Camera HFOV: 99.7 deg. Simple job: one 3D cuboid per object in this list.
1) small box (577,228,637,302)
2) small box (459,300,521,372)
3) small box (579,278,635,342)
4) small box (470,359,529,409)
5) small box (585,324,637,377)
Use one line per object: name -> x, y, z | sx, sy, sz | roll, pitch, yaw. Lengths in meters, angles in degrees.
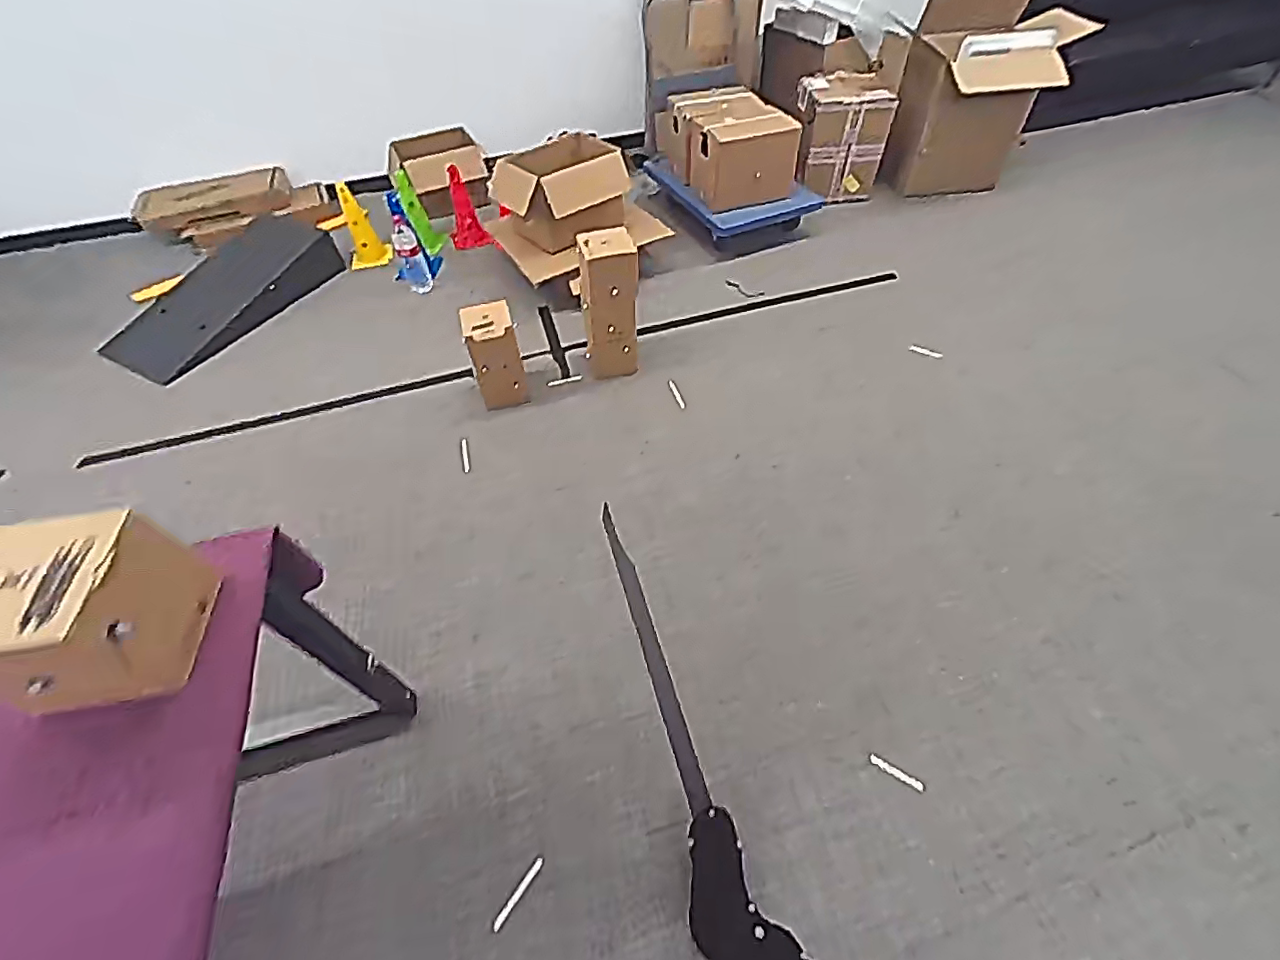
small box -> -0.113, -0.733, 1.848 | 0.179, 0.176, 0.168 | -12, 53, -9
small box -> -0.521, -0.495, 1.885 | 0.168, 0.176, 0.179 | -15, 51, -9
small box -> -0.122, -0.635, 1.980 | 0.168, 0.176, 0.179 | -14, 53, -10
small box -> -0.520, -0.391, 2.012 | 0.179, 0.176, 0.168 | -18, 52, -10
small box -> -0.113, -0.524, 2.099 | 0.179, 0.176, 0.168 | -11, 51, -7
